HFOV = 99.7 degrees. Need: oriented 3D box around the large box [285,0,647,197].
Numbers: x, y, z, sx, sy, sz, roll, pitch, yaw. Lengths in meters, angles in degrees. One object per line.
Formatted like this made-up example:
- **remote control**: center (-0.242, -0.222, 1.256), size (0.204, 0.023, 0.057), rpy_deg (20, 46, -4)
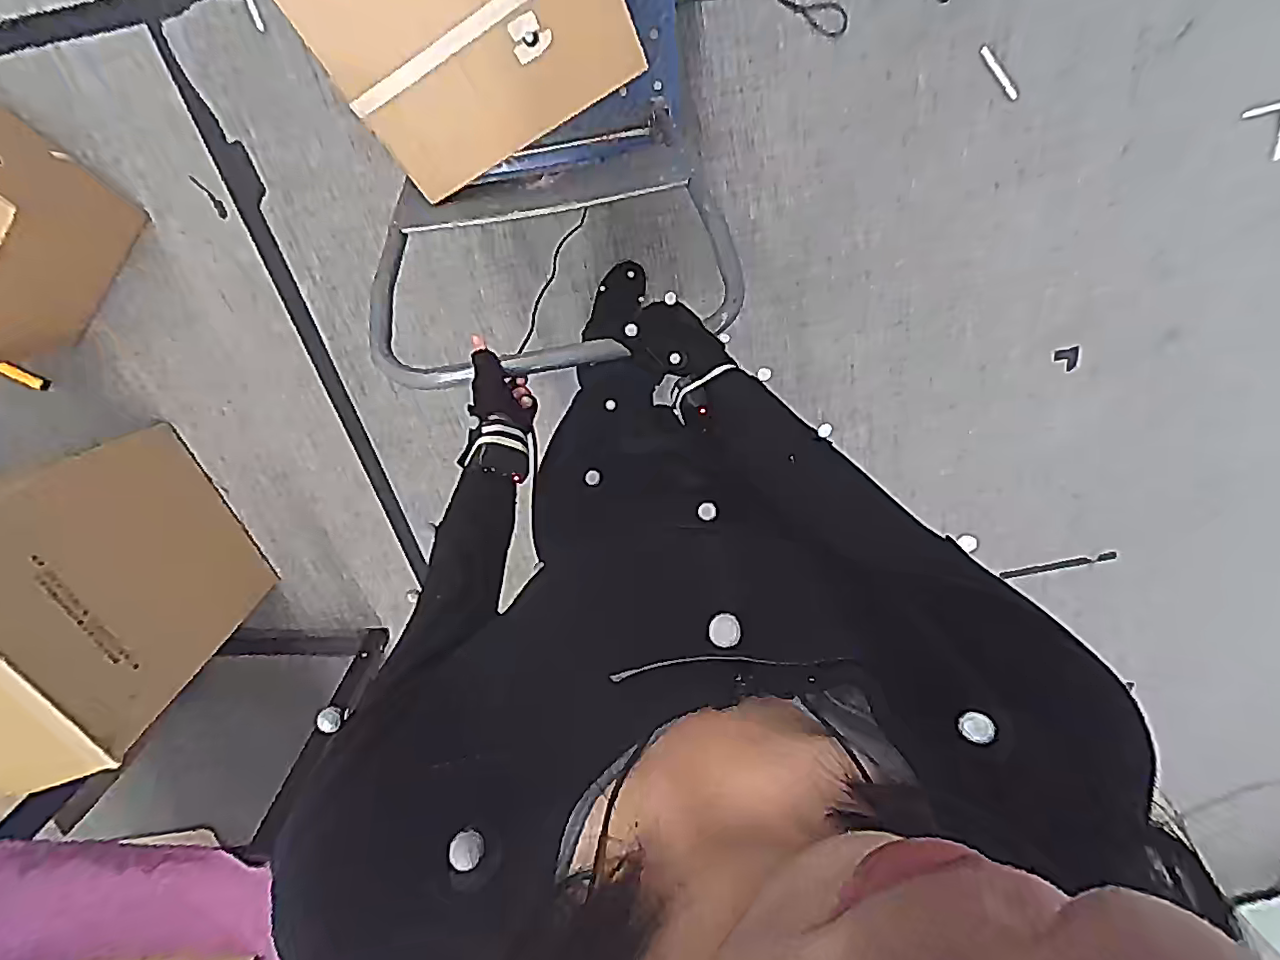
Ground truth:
- **large box**: center (-0.250, -0.734, 0.837), size (0.408, 0.320, 0.320), rpy_deg (-25, 136, 14)
